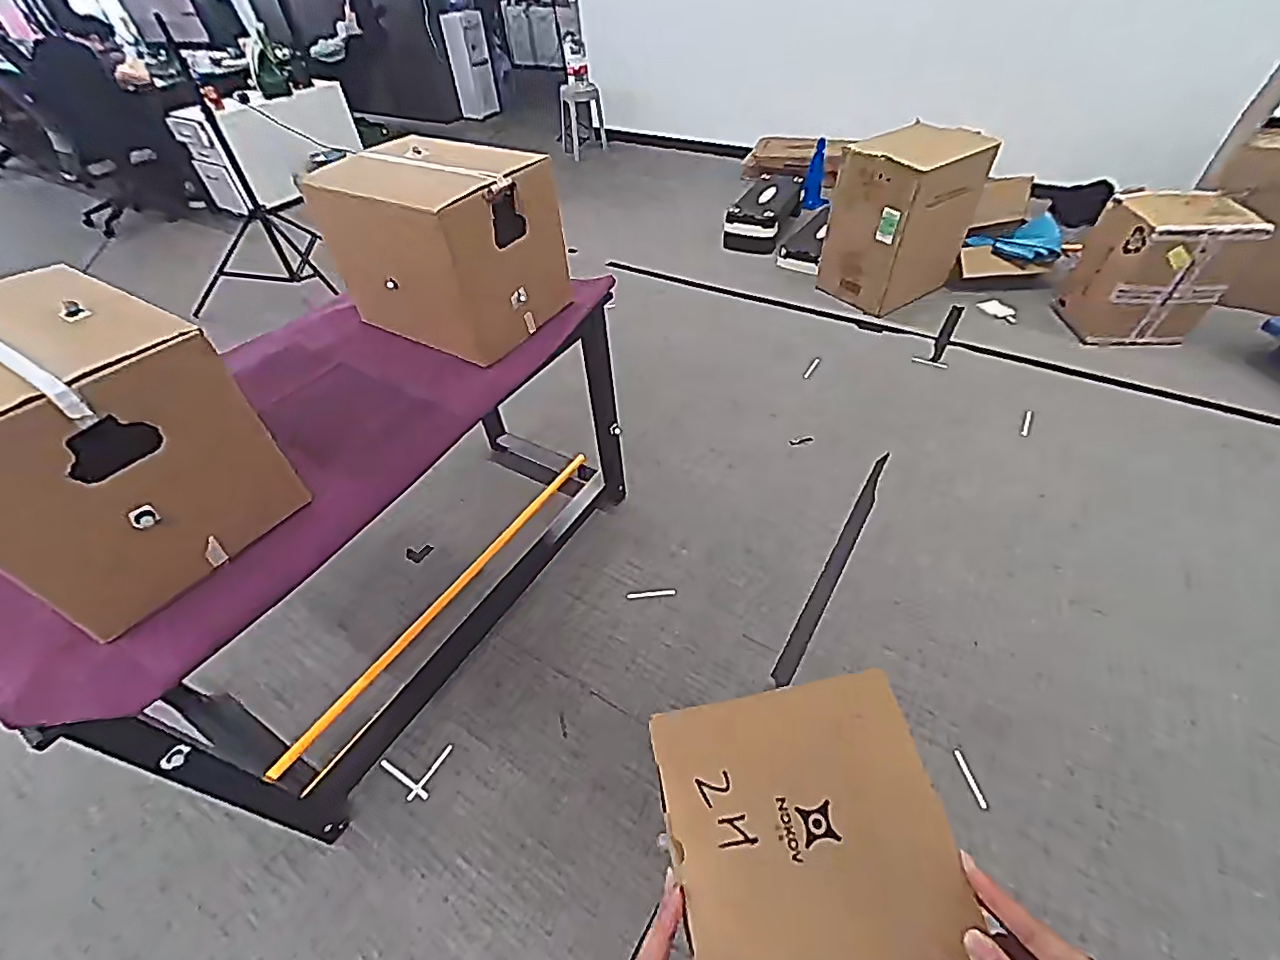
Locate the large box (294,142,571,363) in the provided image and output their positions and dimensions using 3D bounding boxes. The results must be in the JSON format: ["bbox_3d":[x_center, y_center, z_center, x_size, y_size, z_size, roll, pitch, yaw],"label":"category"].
[{"bbox_3d":[-0.413,-0.494,1.160,0.408,0.320,0.320,21,51,24],"label":"large box"}]

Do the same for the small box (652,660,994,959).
[{"bbox_3d":[0.111,0.252,0.413,0.179,0.176,0.168,-12,59,0],"label":"small box"}]
